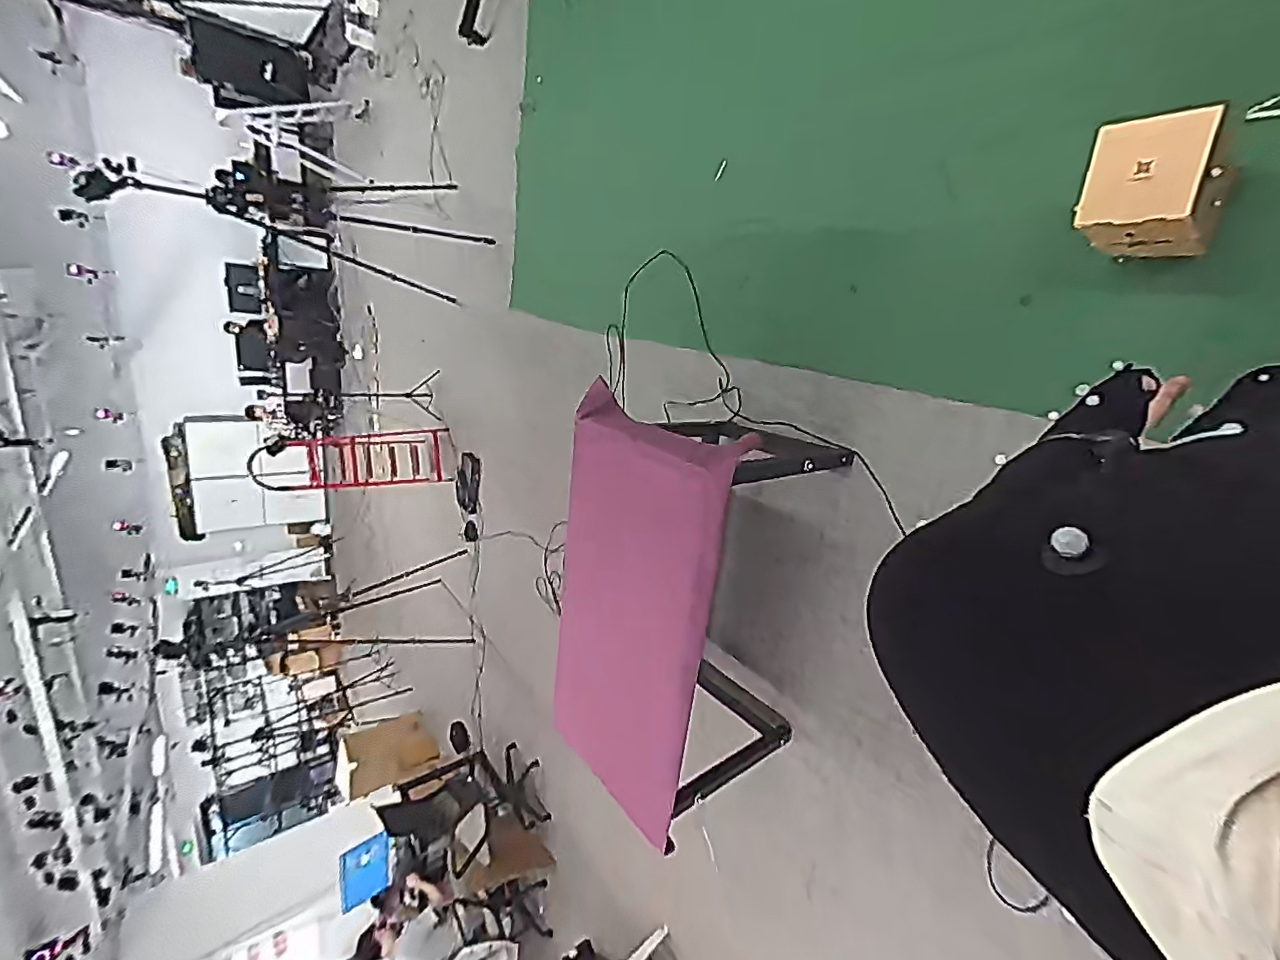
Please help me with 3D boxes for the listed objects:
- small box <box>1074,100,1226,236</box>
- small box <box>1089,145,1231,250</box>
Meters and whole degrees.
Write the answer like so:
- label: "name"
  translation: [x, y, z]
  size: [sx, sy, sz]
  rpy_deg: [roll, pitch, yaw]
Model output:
- label: "small box"
  translation: [0.963, -0.575, 1.022]
  size: [0.168, 0.176, 0.179]
  rpy_deg: [22, 113, 47]
- label: "small box"
  translation: [1.086, -0.584, 1.129]
  size: [0.168, 0.176, 0.179]
  rpy_deg: [24, 113, 47]
